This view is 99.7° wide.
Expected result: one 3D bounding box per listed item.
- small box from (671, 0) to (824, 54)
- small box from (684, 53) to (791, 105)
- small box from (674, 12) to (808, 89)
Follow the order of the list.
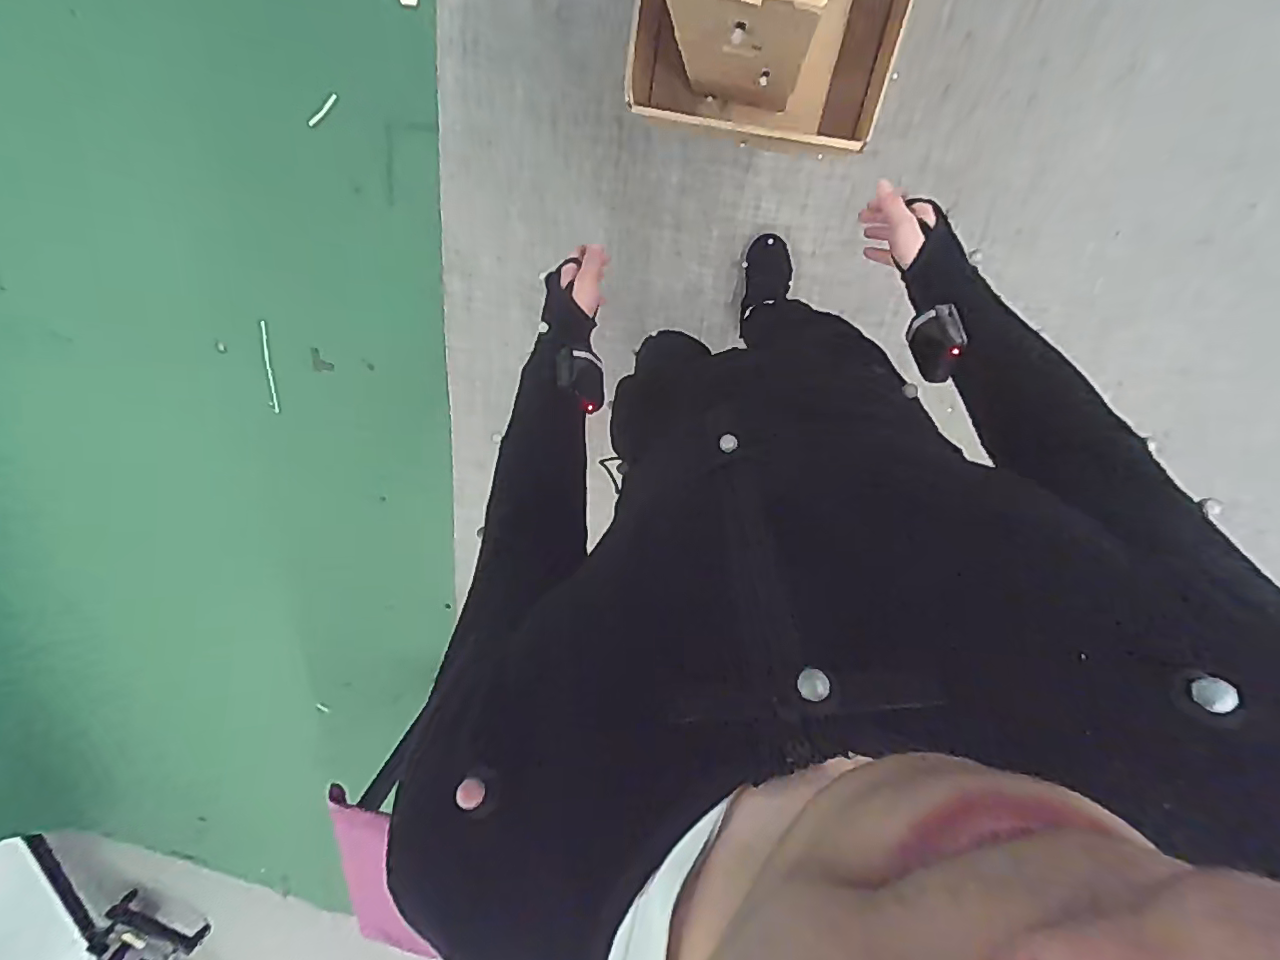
[{"bbox_3d":[0.127,-0.571,0.547,0.168,0.176,0.179,17,116,2],"label":"small box"},{"bbox_3d":[0.175,-0.710,0.838,0.168,0.176,0.179,14,114,5],"label":"small box"},{"bbox_3d":[0.152,-0.636,0.695,0.168,0.176,0.179,16,115,3],"label":"small box"}]
